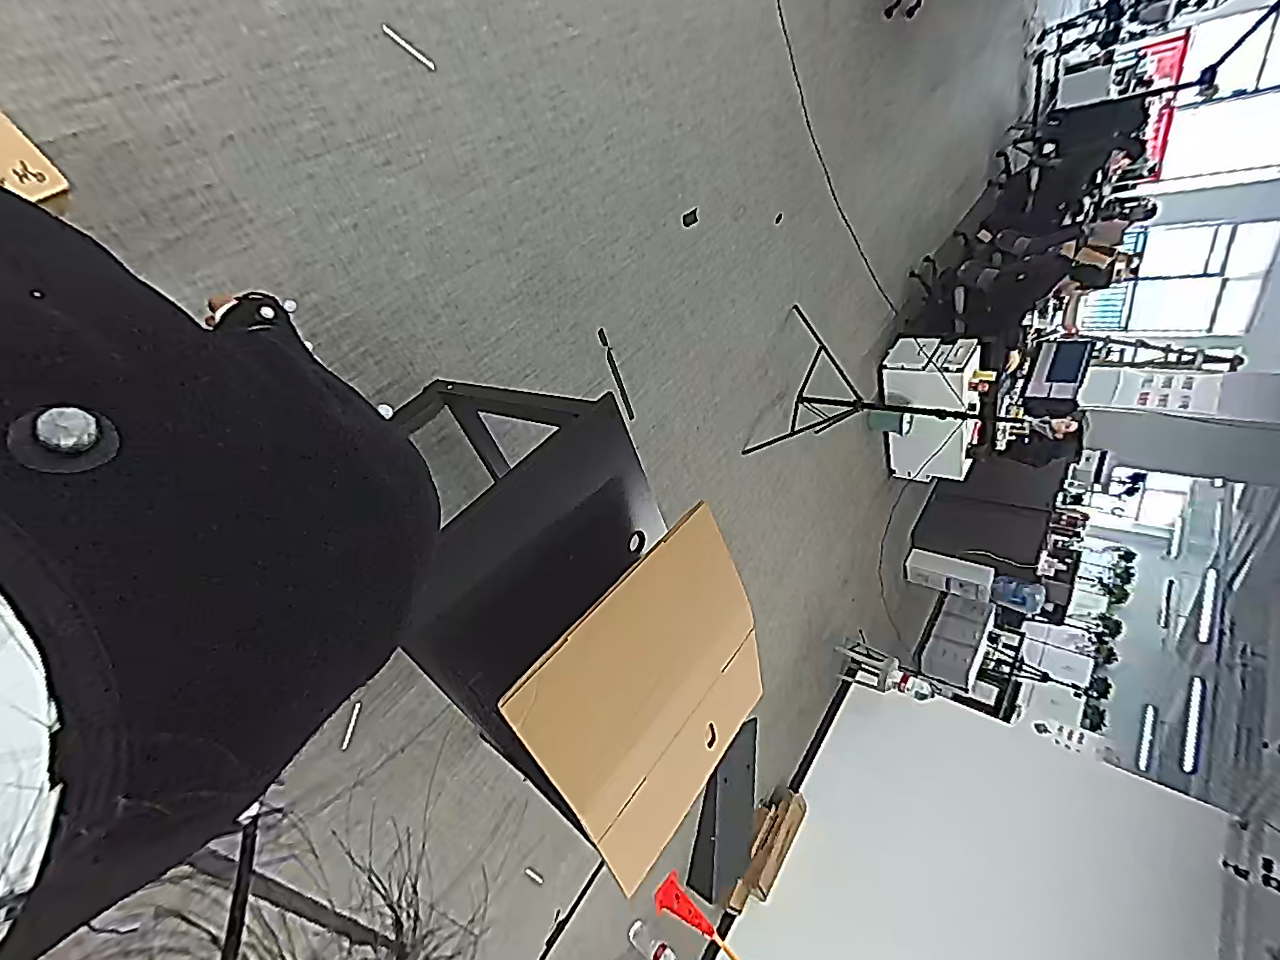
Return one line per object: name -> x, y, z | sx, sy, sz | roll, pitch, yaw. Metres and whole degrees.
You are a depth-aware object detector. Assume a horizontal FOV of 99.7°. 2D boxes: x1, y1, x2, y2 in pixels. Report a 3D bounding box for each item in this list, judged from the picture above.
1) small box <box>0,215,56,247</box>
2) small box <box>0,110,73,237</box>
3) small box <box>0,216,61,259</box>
small box -> -0.975, -0.419, 0.758 | 0.179, 0.176, 0.168 | -53, 135, -26
small box -> -0.856, -0.391, 0.649 | 0.168, 0.176, 0.179 | -50, 133, -27
small box -> -1.098, -0.443, 0.861 | 0.179, 0.176, 0.168 | -49, 132, -27
